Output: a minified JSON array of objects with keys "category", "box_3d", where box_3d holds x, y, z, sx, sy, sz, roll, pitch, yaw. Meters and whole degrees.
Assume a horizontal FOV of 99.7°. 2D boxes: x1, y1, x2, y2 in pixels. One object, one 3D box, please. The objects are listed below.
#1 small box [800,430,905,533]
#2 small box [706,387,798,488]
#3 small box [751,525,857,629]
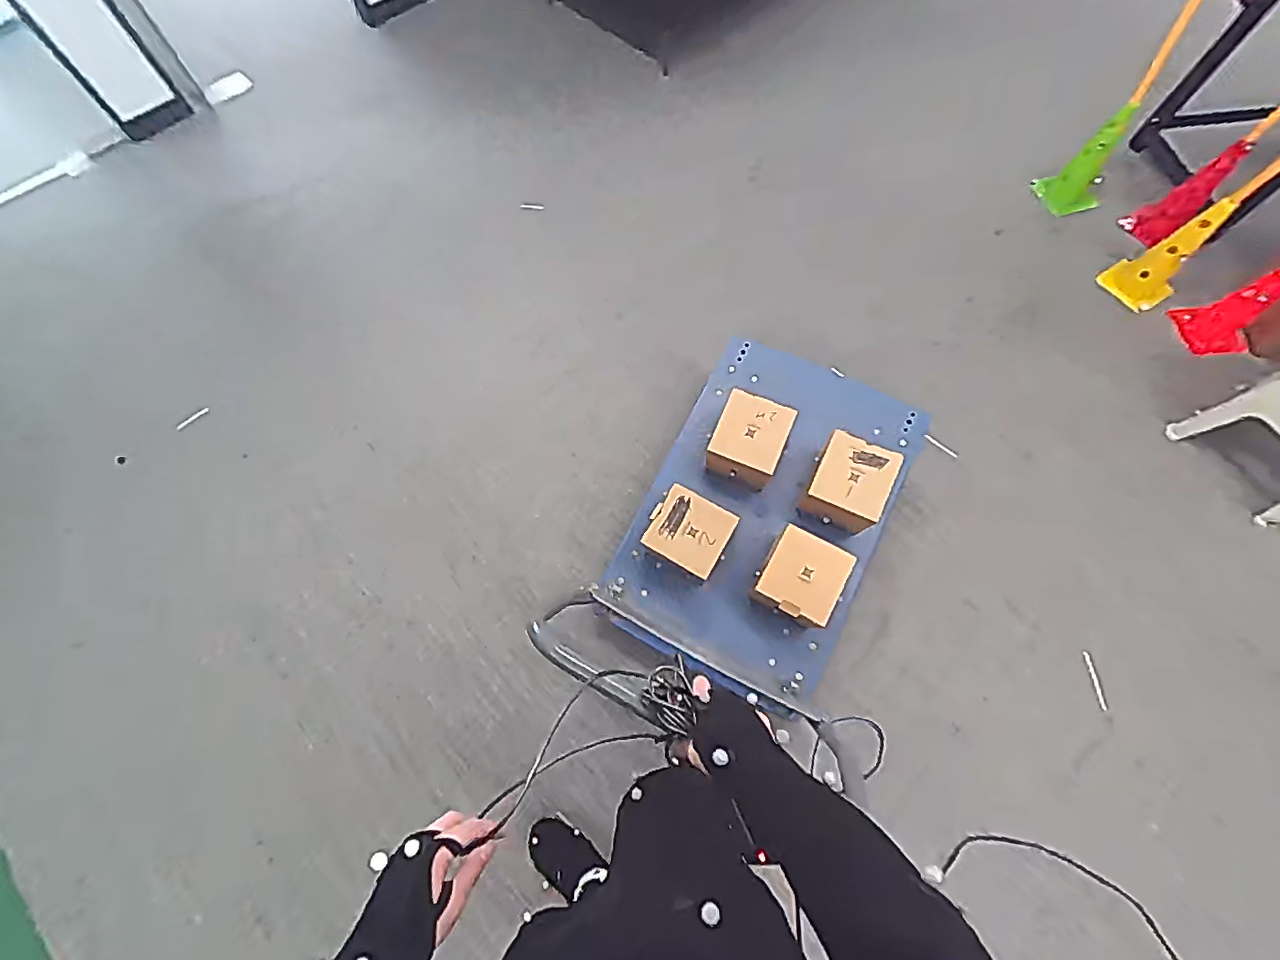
[{"category":"small box","box_3d":[0.502,0.010,1.308,0.168,0.176,0.179,25,80,12]},{"category":"small box","box_3d":[0.275,-0.098,1.357,0.168,0.176,0.179,23,79,10]},{"category":"small box","box_3d":[0.373,0.229,1.265,0.168,0.176,0.179,28,80,12]}]
